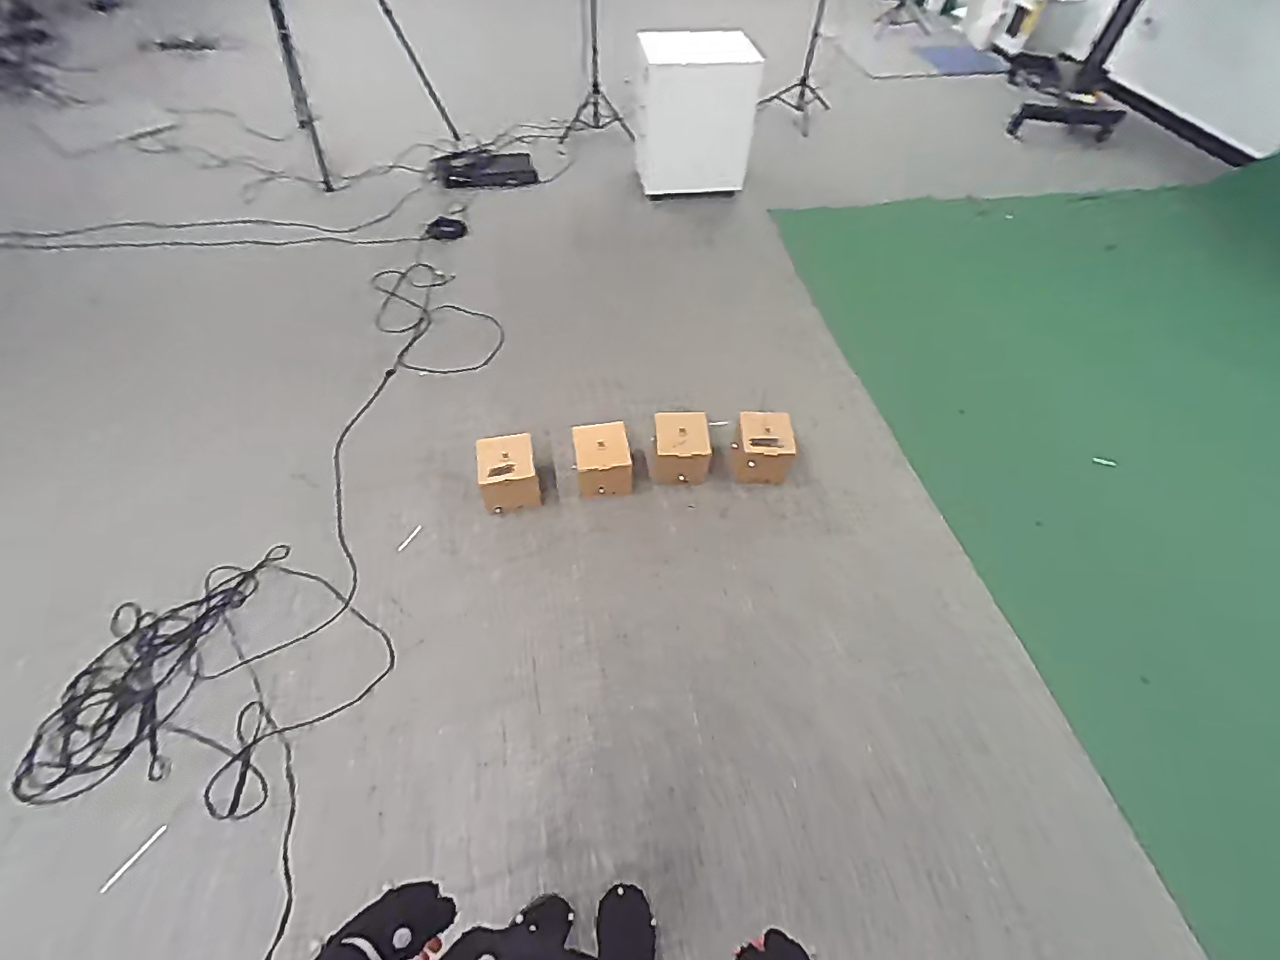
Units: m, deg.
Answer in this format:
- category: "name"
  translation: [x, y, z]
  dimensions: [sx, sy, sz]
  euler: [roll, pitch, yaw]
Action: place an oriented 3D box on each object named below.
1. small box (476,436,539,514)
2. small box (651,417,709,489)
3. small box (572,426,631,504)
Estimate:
- category: "small box"
  translation: [-0.411, -0.009, 1.685]
  dimensions: [0.168, 0.176, 0.179]
  euler: [-8, 54, -8]
- category: "small box"
  translation: [0.124, -0.087, 1.768]
  dimensions: [0.168, 0.176, 0.179]
  euler: [-1, 55, -3]
- category: "small box"
  translation: [-0.127, -0.047, 1.729]
  dimensions: [0.168, 0.176, 0.179]
  euler: [-7, 56, -8]
